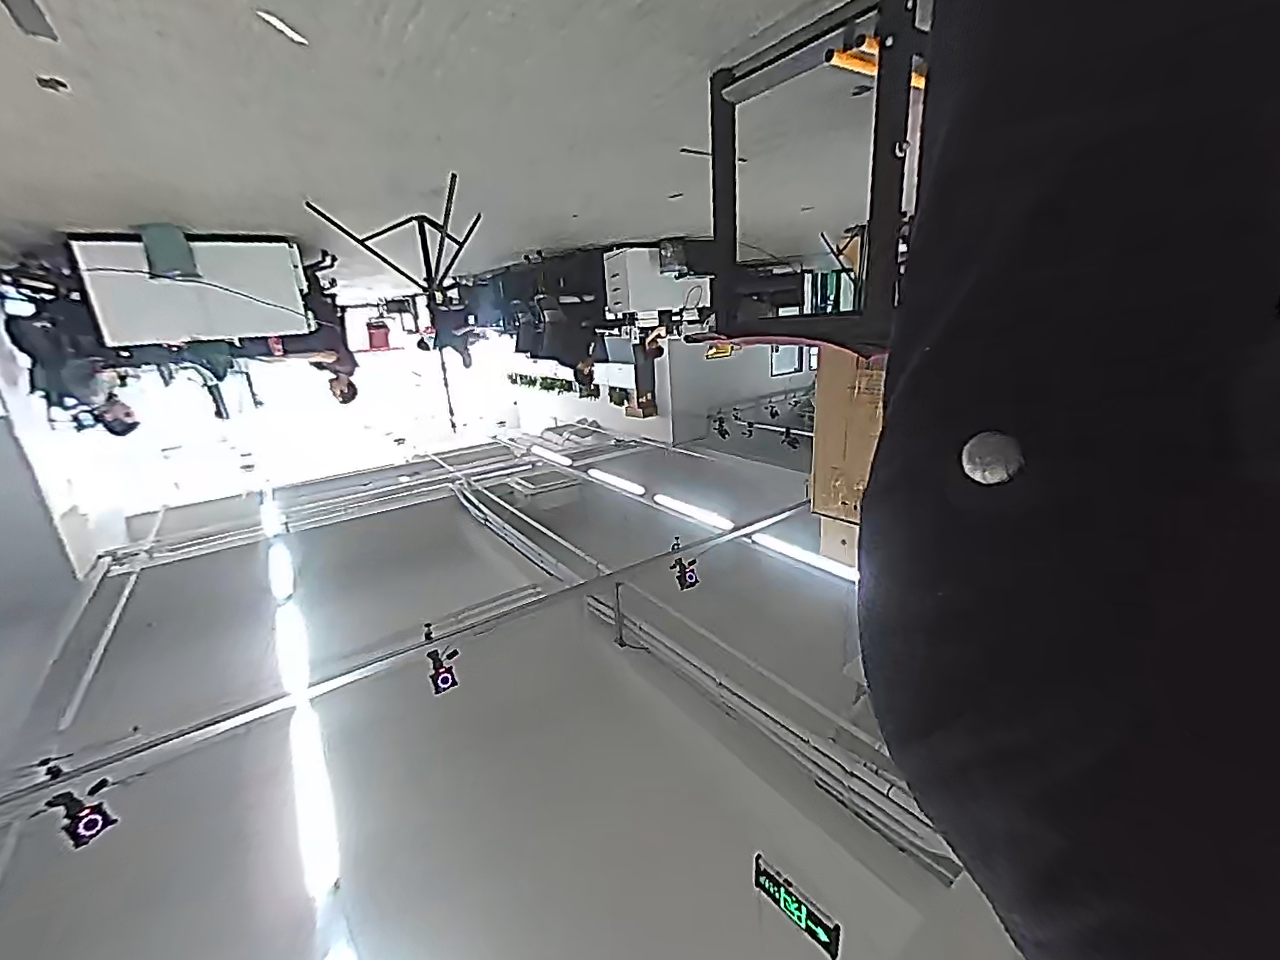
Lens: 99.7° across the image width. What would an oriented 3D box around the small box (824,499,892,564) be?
[{"bbox_3d":[0.791,0.179,1.964,0.179,0.176,0.168,-16,-159,-28],"label":"small box"}]
